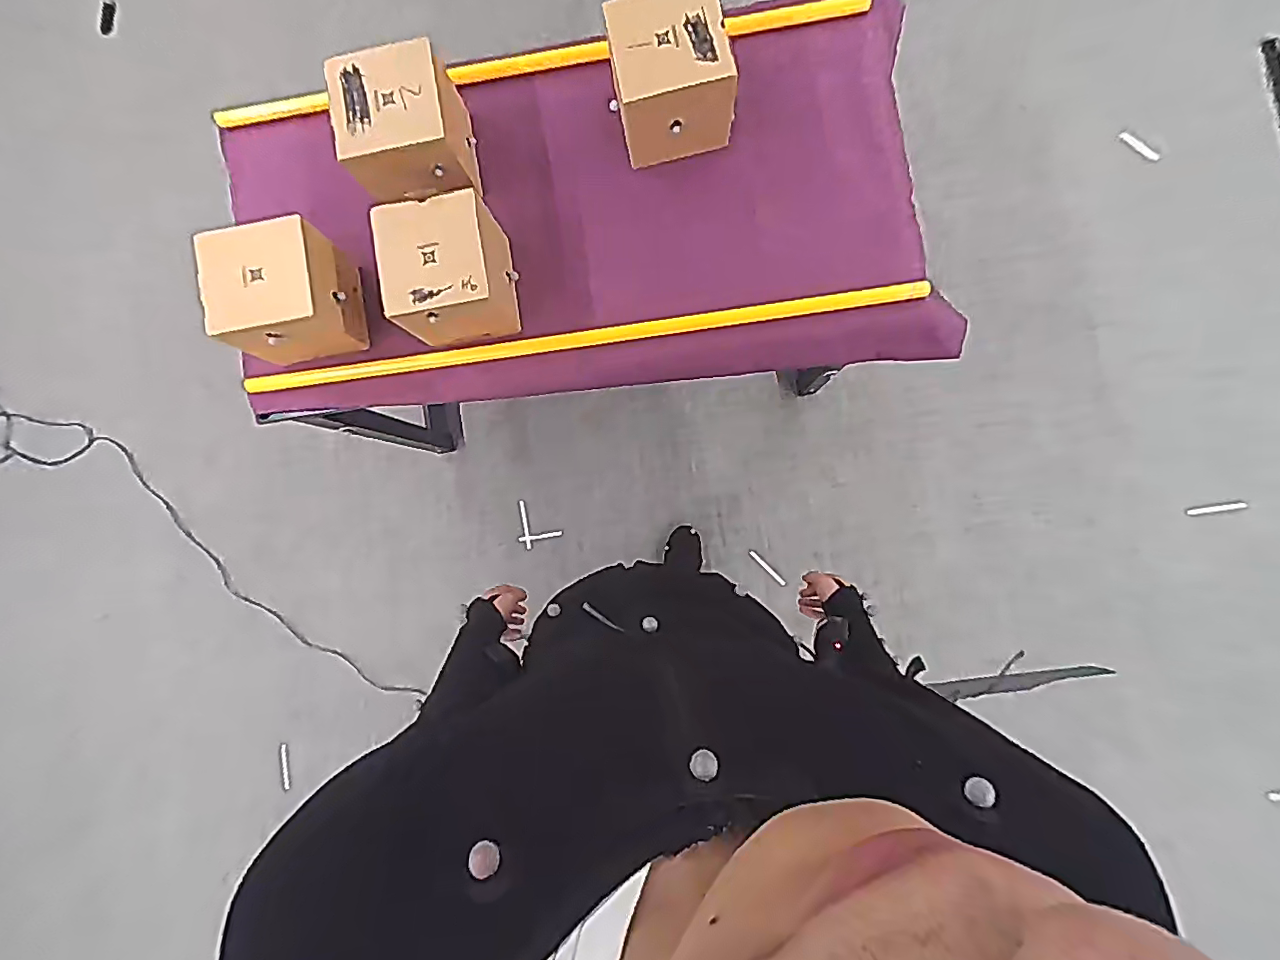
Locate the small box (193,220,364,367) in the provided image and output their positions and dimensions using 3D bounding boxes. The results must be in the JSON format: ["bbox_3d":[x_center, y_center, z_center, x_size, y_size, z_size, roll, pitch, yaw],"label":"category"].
[{"bbox_3d":[-0.589,-0.301,0.907,0.179,0.176,0.168,-10,86,3],"label":"small box"}]

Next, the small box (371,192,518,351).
[{"bbox_3d":[-0.312,-0.331,0.888,0.168,0.176,0.179,-9,86,4],"label":"small box"}]

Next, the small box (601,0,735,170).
[{"bbox_3d":[0.046,-0.645,0.879,0.179,0.176,0.168,-12,87,5],"label":"small box"}]
